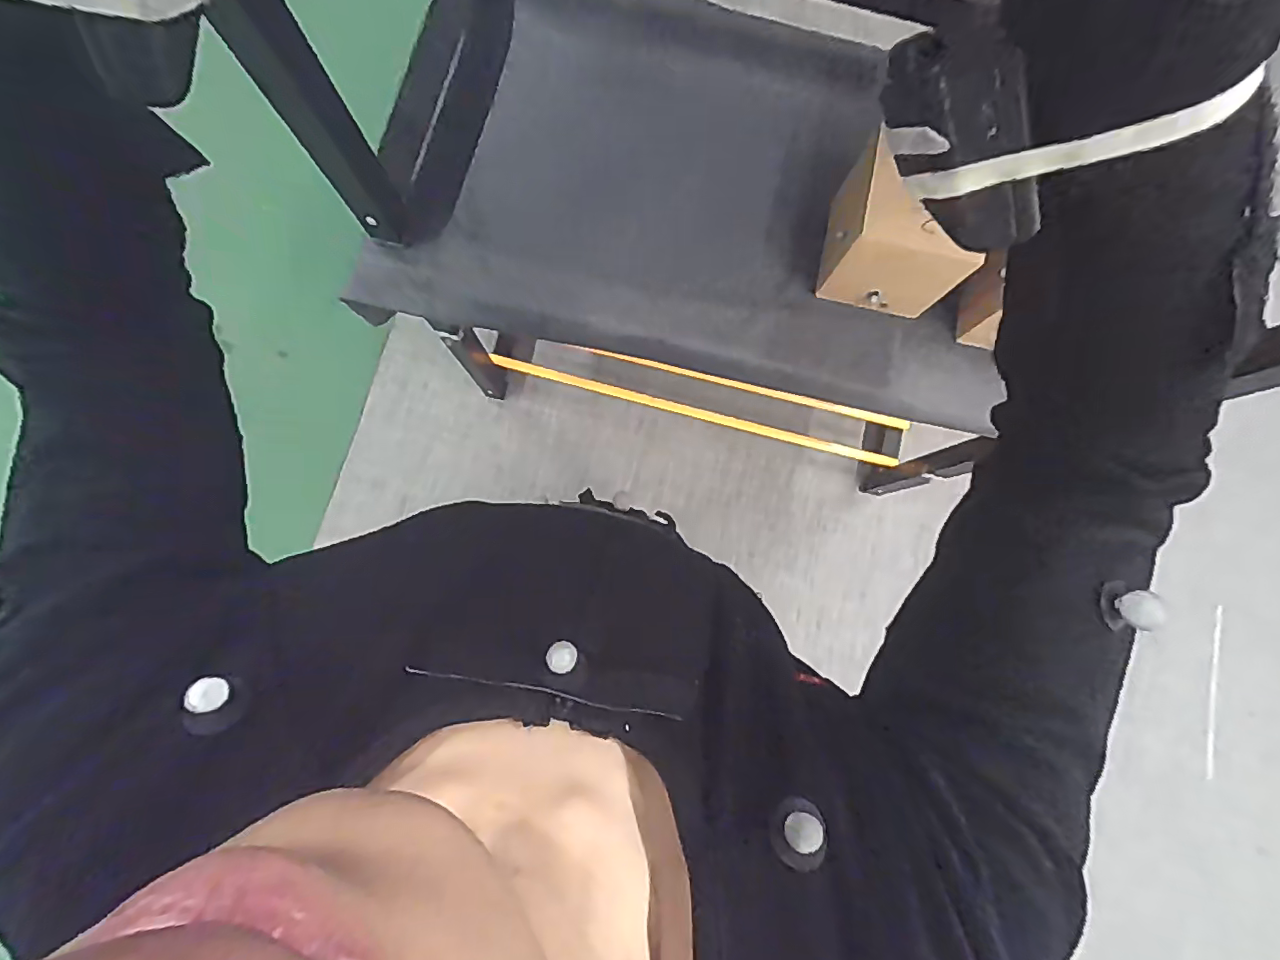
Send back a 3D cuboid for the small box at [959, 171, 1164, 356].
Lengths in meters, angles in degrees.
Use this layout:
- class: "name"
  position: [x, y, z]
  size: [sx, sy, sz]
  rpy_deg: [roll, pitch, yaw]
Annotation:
- class: "small box"
  position: [0.599, -0.302, 0.789]
  size: [0.168, 0.176, 0.179]
  rpy_deg: [13, 80, -1]
